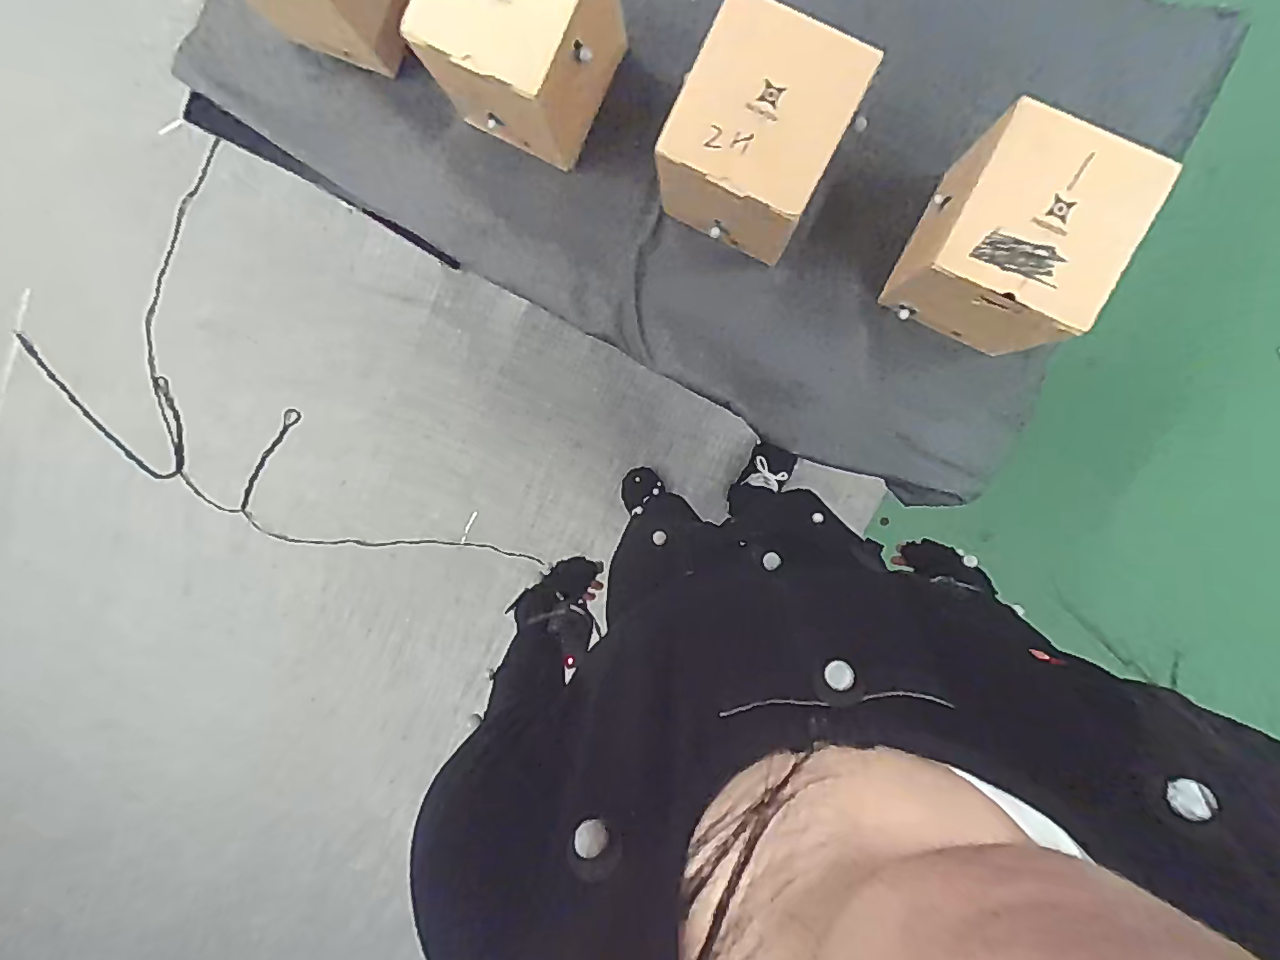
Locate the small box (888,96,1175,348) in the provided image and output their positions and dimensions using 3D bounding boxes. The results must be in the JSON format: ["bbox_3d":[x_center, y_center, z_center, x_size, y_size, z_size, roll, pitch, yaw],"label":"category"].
[{"bbox_3d":[0.409,-0.266,0.607,0.168,0.176,0.179,27,97,2],"label":"small box"}]

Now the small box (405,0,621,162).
[{"bbox_3d":[-0.131,-0.522,0.630,0.168,0.176,0.179,27,99,1],"label":"small box"}]

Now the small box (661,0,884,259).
[{"bbox_3d":[0.136,-0.388,0.619,0.168,0.176,0.179,28,98,2],"label":"small box"}]
